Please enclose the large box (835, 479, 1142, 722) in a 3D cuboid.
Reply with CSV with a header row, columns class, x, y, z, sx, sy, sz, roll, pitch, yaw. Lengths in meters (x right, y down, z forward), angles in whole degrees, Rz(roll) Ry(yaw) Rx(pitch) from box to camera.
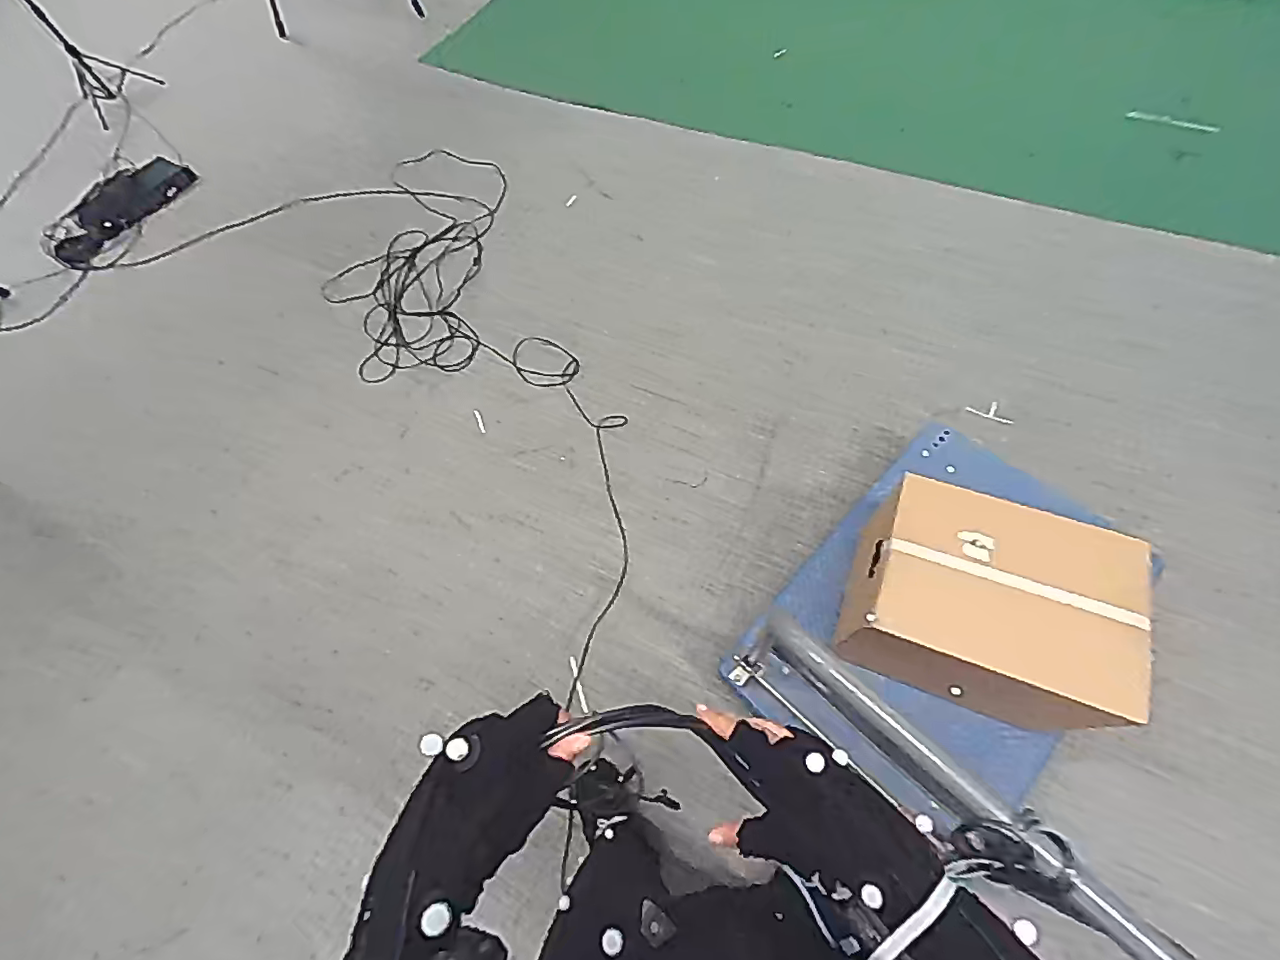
class,x,y,z,sx,sy,sz,roll,pitch,yaw
large box,0.649,0.246,1.061,0.408,0.320,0.320,18,66,15
